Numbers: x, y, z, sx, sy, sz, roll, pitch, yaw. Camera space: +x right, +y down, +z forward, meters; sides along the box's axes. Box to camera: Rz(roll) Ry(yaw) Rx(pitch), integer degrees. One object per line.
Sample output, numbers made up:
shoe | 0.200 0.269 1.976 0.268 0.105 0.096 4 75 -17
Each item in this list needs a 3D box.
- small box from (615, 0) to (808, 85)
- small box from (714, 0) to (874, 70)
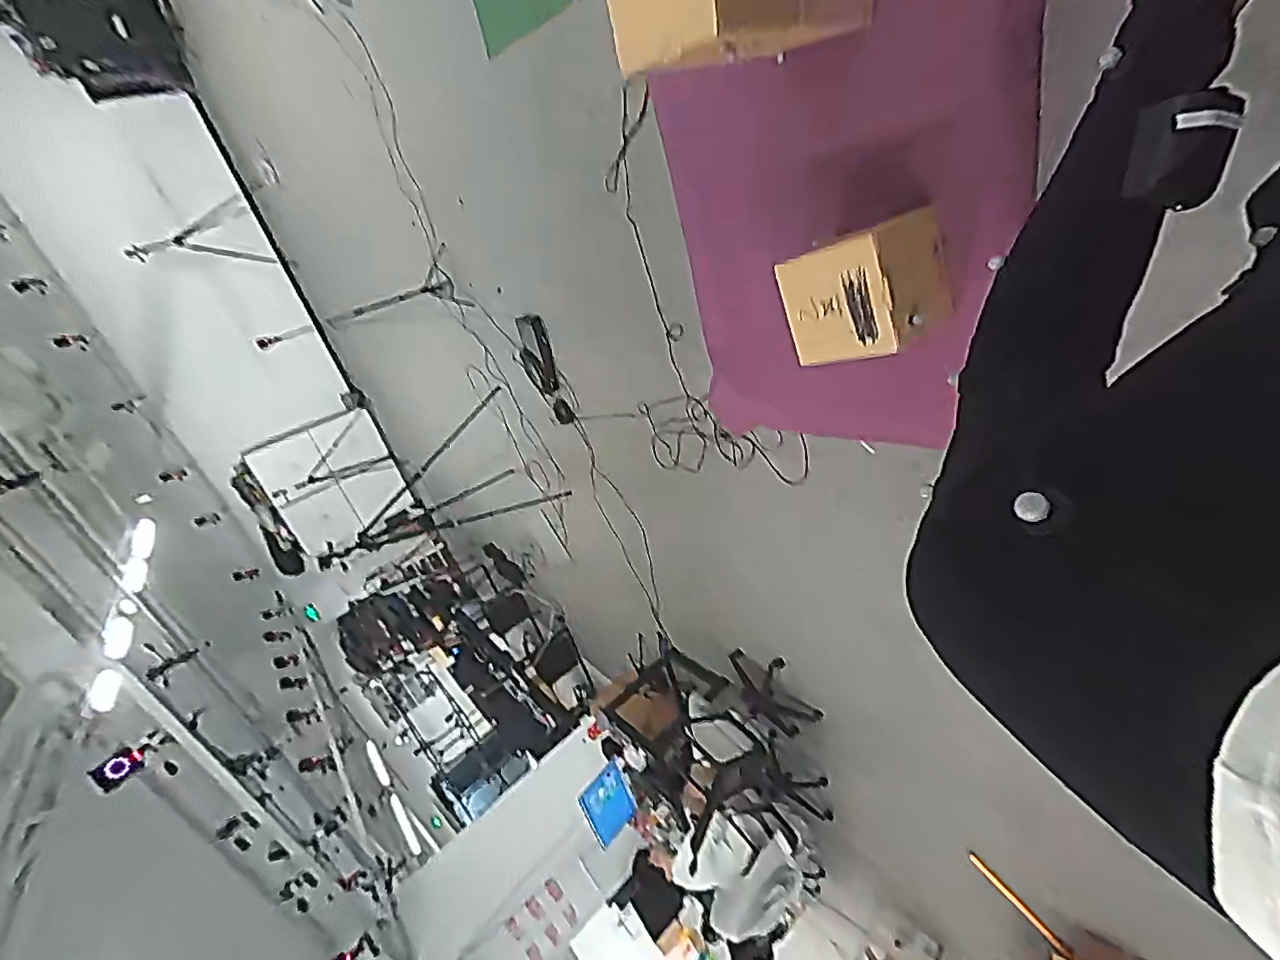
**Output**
small box | 0.083 -0.600 0.638 0.168 0.176 0.179 22 135 45
small box | 0.199 -0.680 0.719 0.168 0.176 0.179 23 136 44
